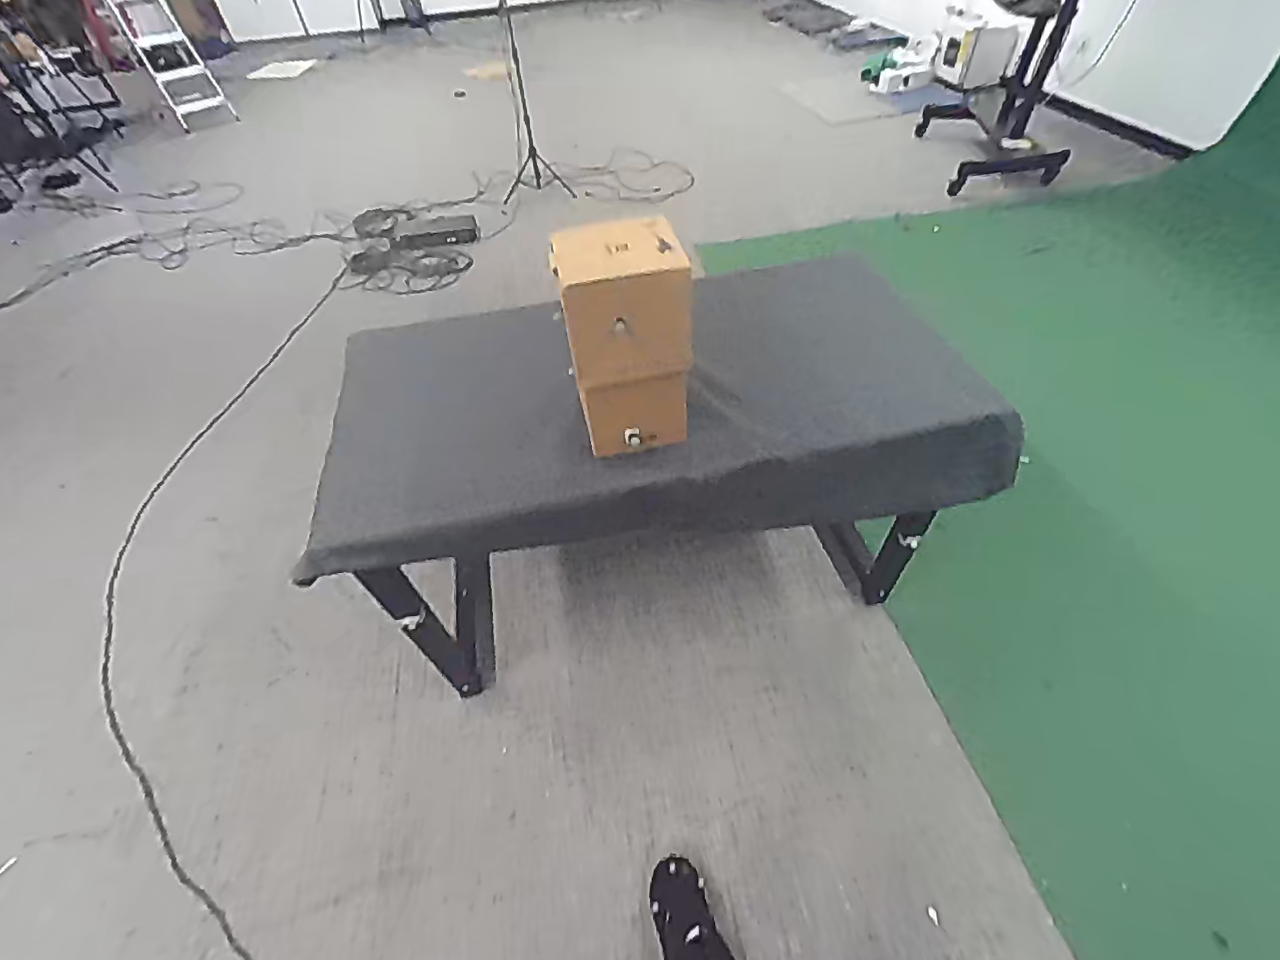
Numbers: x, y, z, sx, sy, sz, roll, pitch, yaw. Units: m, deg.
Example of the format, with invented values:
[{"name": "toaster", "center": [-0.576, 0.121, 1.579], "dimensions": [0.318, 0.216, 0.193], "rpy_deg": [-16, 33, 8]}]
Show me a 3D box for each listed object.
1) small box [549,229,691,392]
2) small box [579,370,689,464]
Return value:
[{"name": "small box", "center": [-0.027, -0.253, 0.818], "dimensions": [0.179, 0.176, 0.168], "rpy_deg": [-13, 46, -7]}, {"name": "small box", "center": [-0.017, -0.157, 0.947], "dimensions": [0.168, 0.176, 0.179], "rpy_deg": [-14, 49, -5]}]
